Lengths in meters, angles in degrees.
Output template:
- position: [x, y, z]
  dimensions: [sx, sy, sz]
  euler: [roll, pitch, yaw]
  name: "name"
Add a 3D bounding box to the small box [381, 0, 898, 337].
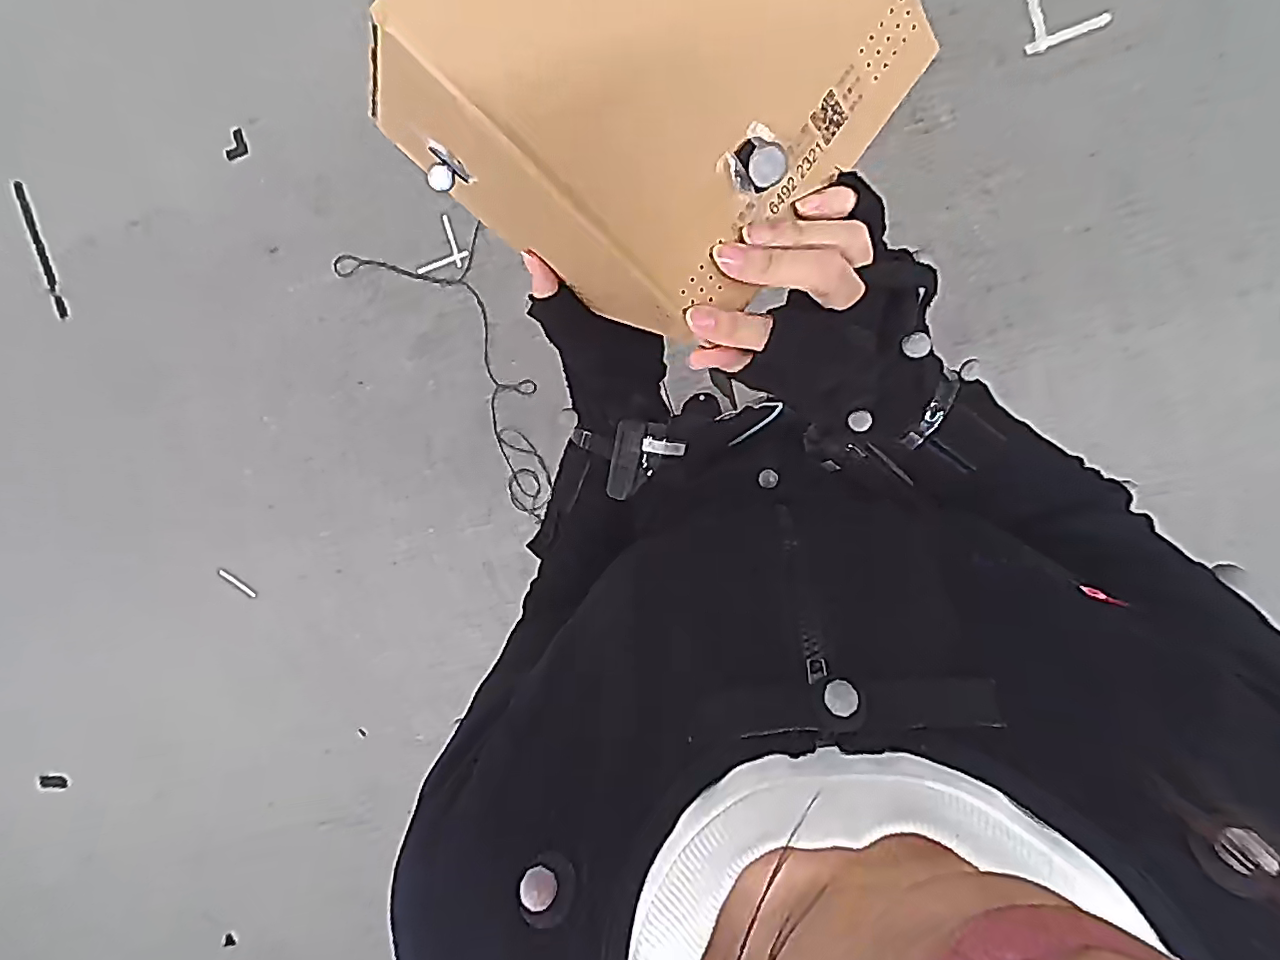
- position: [-0.010, -0.197, 0.286]
  dimensions: [0.176, 0.179, 0.168]
  euler: [34, 94, -33]
  name: "small box"
